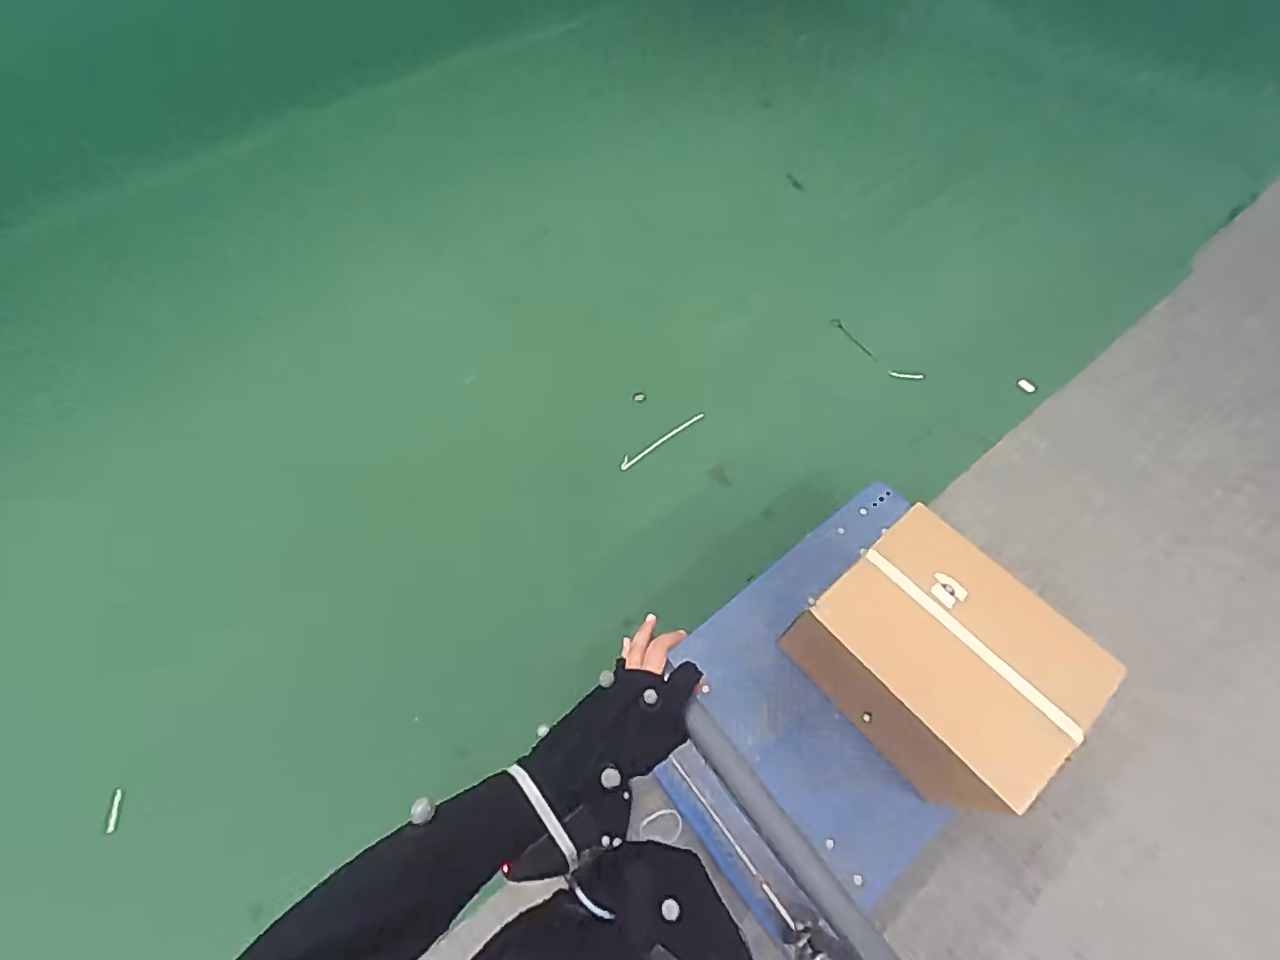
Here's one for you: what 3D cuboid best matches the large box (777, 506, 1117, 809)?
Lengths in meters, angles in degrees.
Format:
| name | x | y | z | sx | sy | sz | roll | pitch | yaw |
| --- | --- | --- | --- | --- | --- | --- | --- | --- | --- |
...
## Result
| name | x | y | z | sx | sy | sz | roll | pitch | yaw |
| --- | --- | --- | --- | --- | --- | --- | --- | --- | --- |
| large box | 0.531 | 0.333 | 1.029 | 0.320 | 0.320 | 0.408 | -37 | 65 | -15 |
